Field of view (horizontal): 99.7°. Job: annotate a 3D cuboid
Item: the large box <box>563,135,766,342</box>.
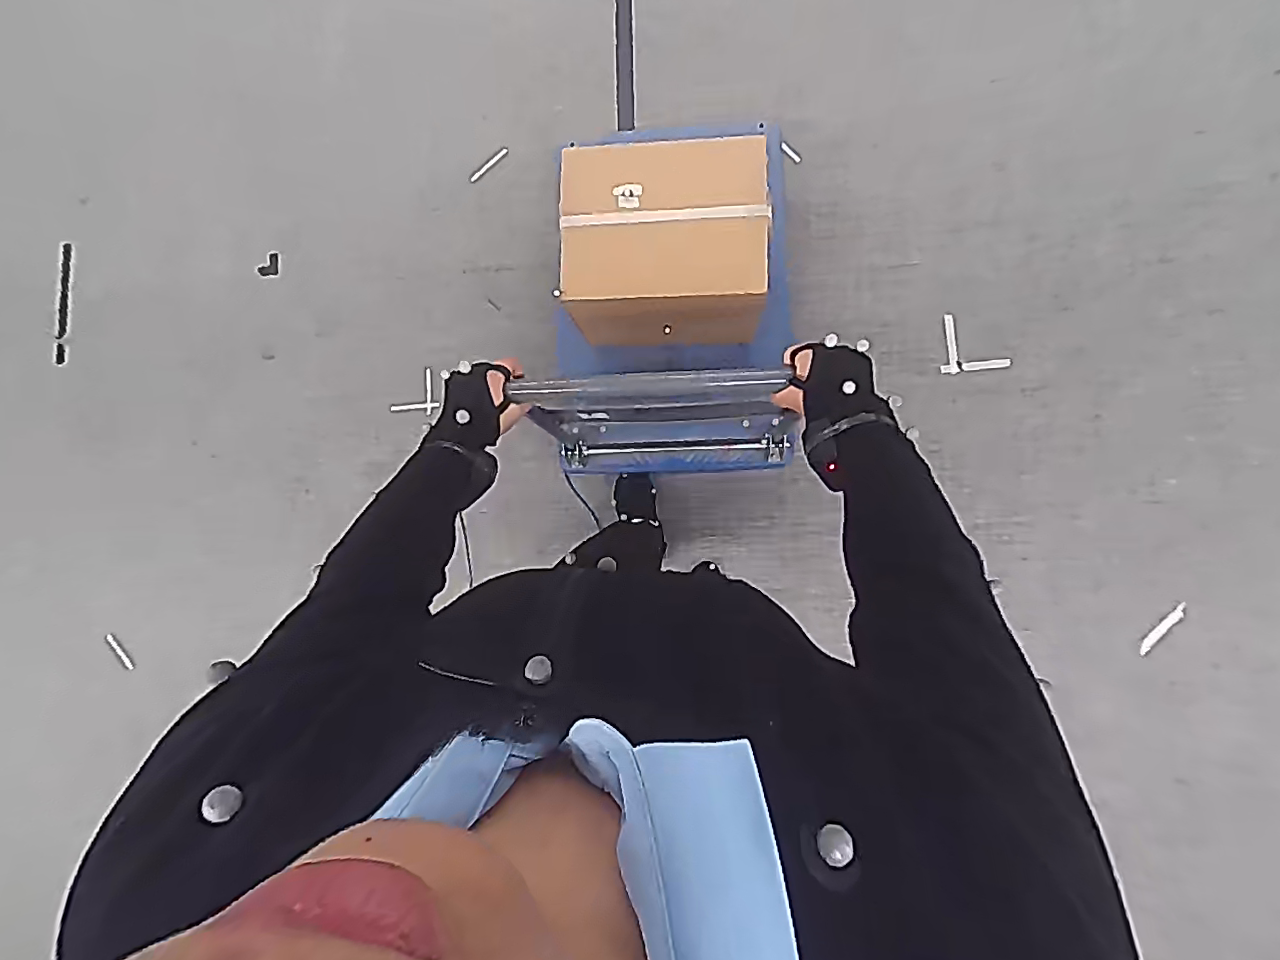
[{"bbox_3d":[0.061,-0.508,1.211,0.408,0.320,0.320,0,86,7],"label":"large box"}]
